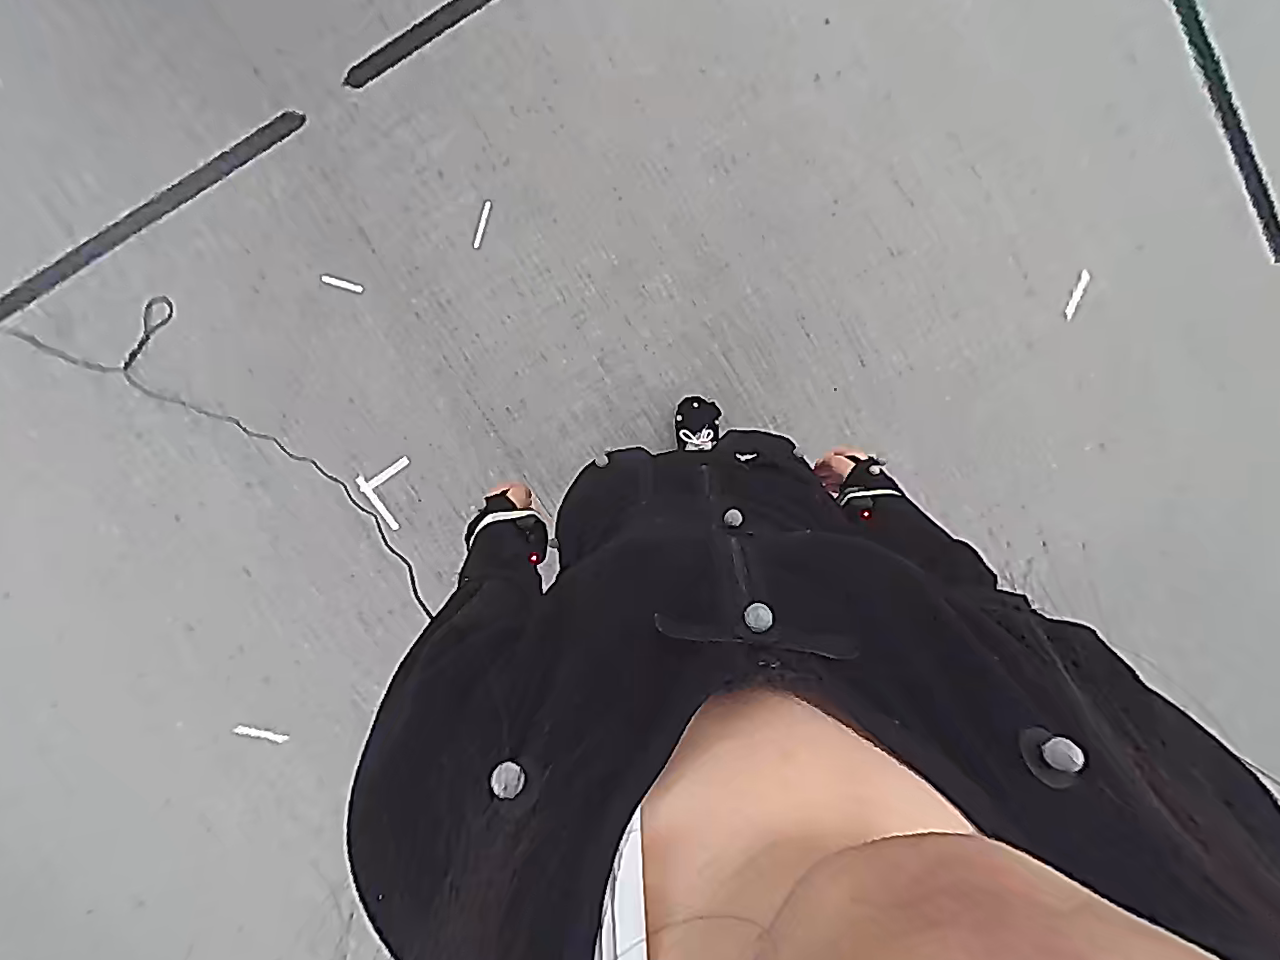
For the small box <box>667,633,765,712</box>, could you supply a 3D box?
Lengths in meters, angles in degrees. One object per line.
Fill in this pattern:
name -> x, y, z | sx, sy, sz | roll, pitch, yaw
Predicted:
small box -> 0.178, 0.503, 1.337 | 0.168, 0.176, 0.179 | -33, 98, 5
